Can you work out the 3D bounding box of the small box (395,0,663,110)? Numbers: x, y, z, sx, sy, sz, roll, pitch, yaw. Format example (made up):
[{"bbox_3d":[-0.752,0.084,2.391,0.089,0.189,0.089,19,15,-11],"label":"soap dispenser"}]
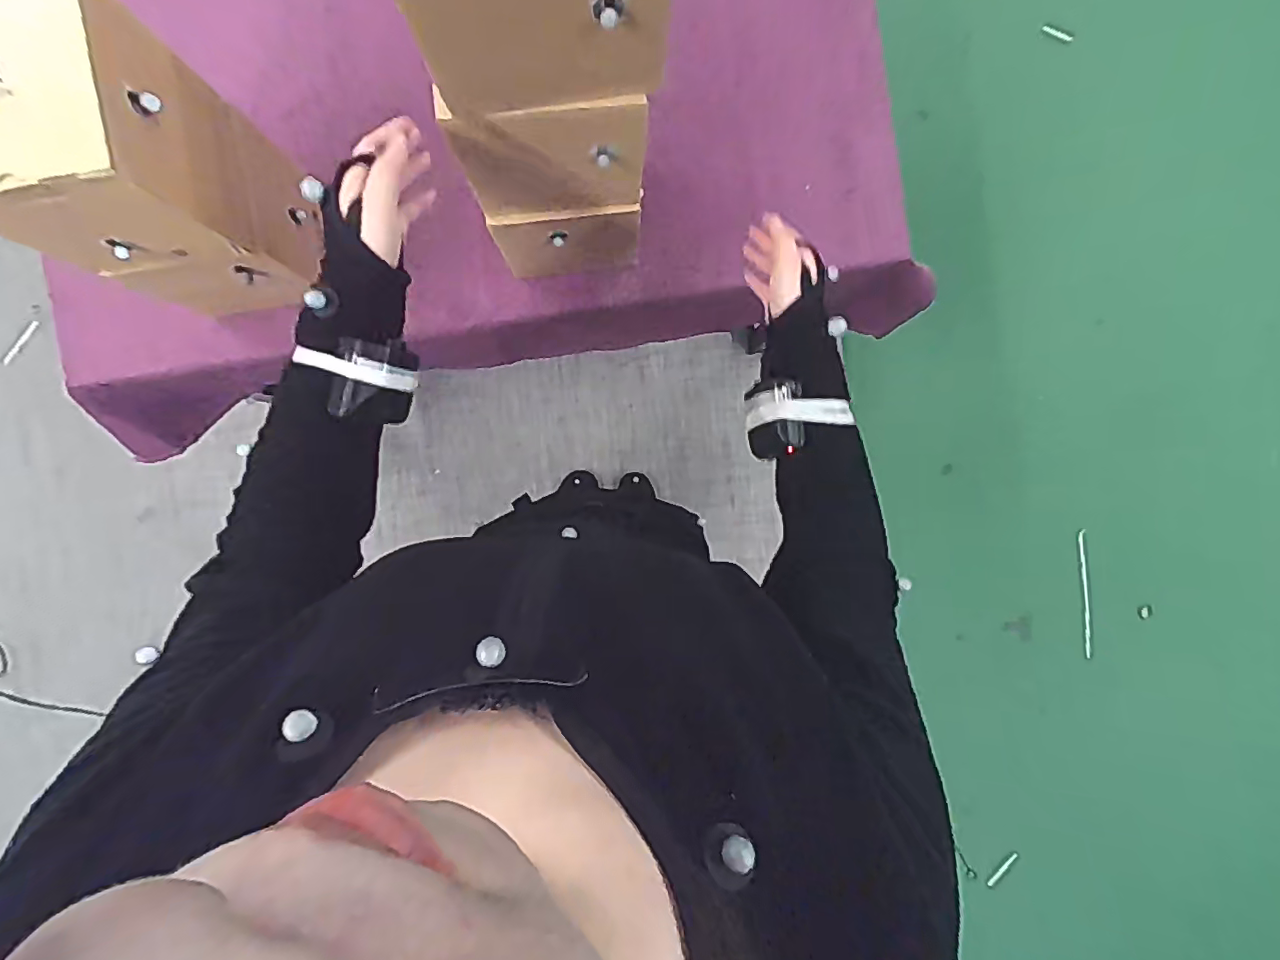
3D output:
[{"bbox_3d":[-0.077,-0.386,0.358,0.179,0.176,0.168,-9,92,-2],"label":"small box"}]

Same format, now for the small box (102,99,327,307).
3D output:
[{"bbox_3d":[-0.519,-0.329,0.673,0.179,0.176,0.168,-9,92,-2],"label":"small box"}]

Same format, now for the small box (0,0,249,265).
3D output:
[{"bbox_3d":[-0.517,-0.328,0.509,0.168,0.176,0.179,-9,93,-2],"label":"small box"}]

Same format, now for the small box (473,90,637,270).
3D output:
[{"bbox_3d":[-0.098,-0.380,0.686,0.179,0.176,0.168,-7,92,-2],"label":"small box"}]
